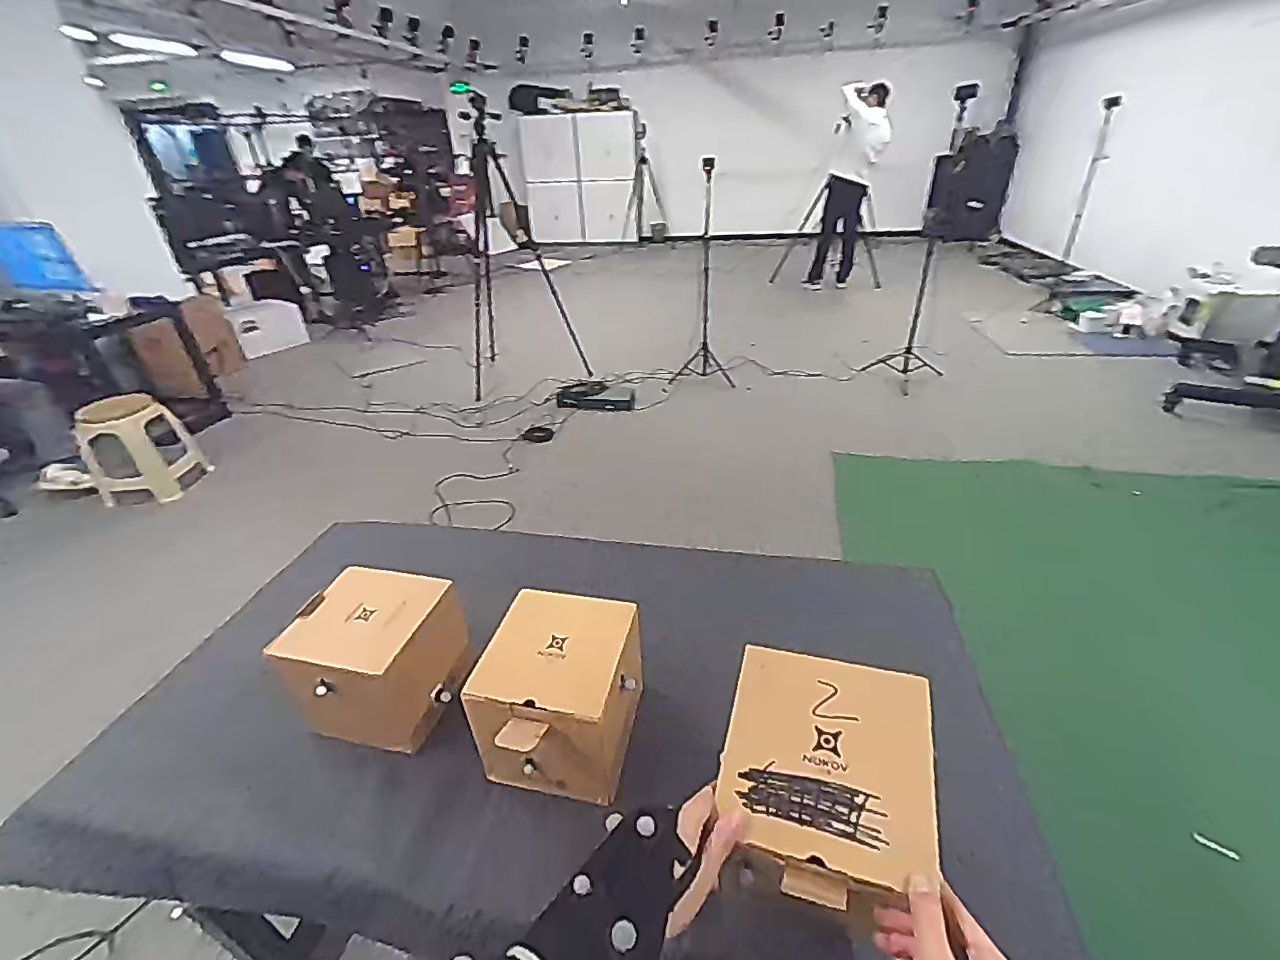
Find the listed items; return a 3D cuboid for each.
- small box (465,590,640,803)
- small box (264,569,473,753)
[{"bbox_3d":[-0.098,0.271,0.696,0.168,0.176,0.179,5,33,12],"label":"small box"},{"bbox_3d":[-0.361,0.249,0.753,0.179,0.176,0.168,6,33,13],"label":"small box"}]
